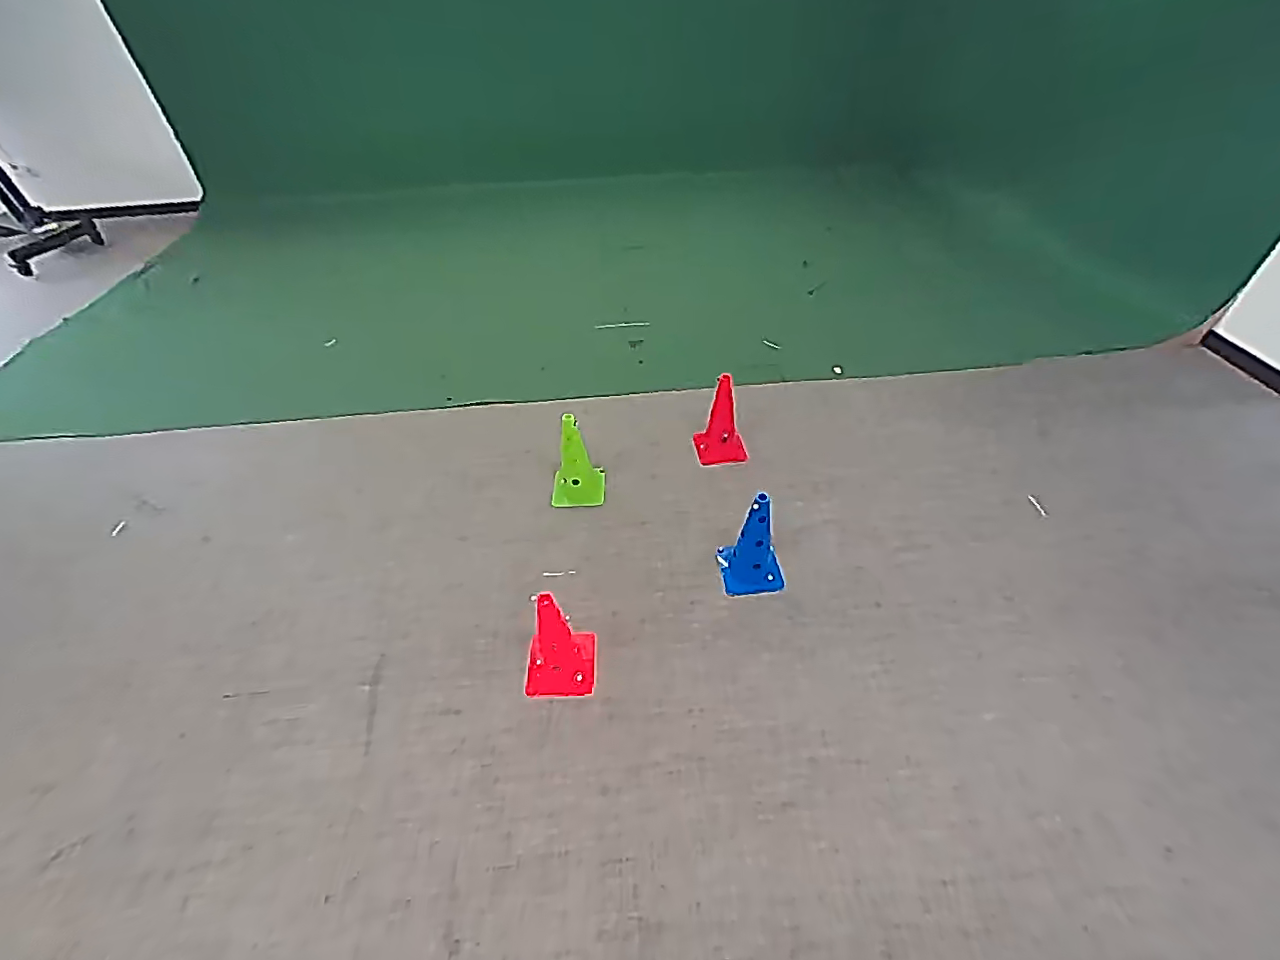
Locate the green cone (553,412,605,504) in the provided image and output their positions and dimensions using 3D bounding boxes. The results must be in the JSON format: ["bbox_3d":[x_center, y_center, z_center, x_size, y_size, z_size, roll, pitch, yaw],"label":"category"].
[{"bbox_3d":[-0.246,-0.103,2.007,0.200,0.368,0.202,-3,46,0],"label":"green cone"}]

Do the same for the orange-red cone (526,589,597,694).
[{"bbox_3d":[-0.233,0.415,1.491,0.198,0.360,0.199,-1,43,1],"label":"orange-red cone"}]
